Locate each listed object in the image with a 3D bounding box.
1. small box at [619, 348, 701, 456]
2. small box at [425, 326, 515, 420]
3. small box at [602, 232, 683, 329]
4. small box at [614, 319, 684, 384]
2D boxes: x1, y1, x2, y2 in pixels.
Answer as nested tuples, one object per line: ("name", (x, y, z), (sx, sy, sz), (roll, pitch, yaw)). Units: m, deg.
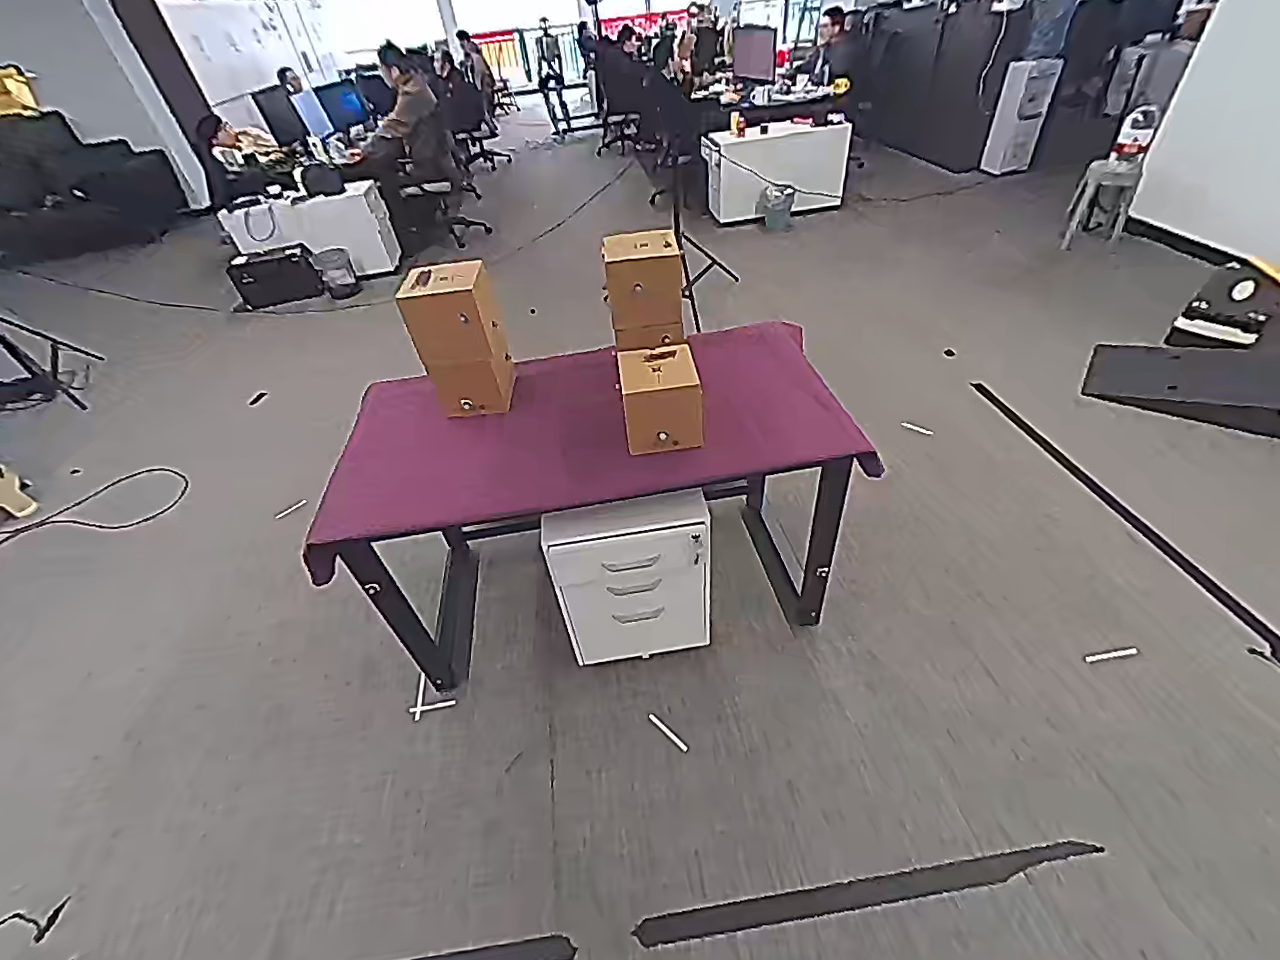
("small box", (0.044, -0.178, 1.230), (0.168, 0.176, 0.179), (-8, 41, 0))
("small box", (-0.432, -0.277, 1.409), (0.168, 0.176, 0.179), (-6, 44, 3))
("small box", (0.006, -0.487, 1.332), (0.179, 0.176, 0.168), (-7, 43, 2))
("small box", (0.023, -0.366, 1.441), (0.179, 0.176, 0.168), (-7, 42, 1))
